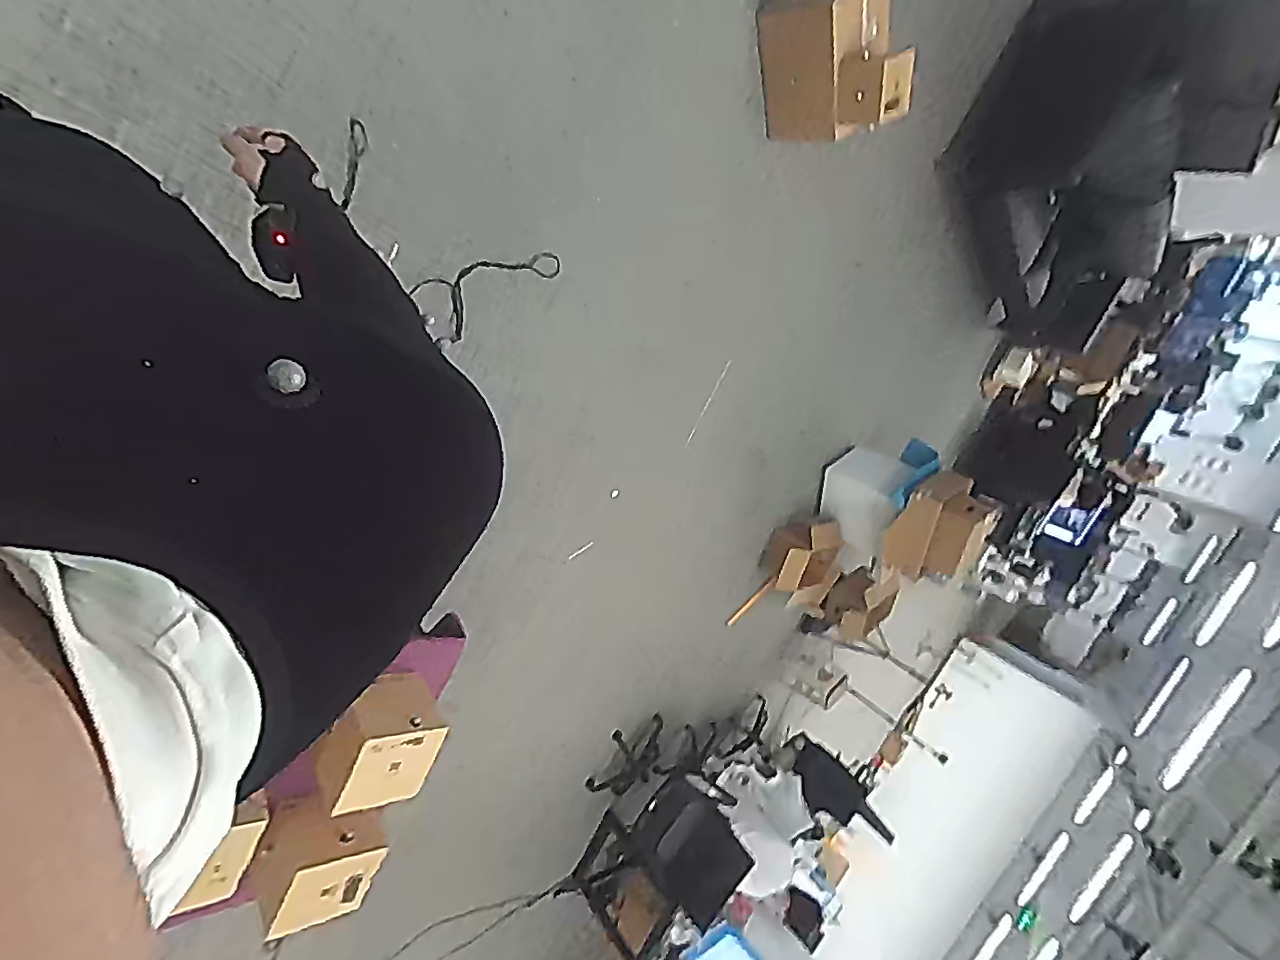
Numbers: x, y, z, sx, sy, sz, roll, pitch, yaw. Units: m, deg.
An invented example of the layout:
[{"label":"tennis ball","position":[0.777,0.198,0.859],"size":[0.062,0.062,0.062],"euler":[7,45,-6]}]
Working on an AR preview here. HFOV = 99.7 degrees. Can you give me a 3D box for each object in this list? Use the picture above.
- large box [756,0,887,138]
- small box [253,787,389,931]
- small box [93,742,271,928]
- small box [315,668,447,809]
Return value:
[{"label":"large box","position":[0.653,-1.509,1.935],"size":[0.320,0.320,0.408],"euler":[-42,137,-18]},{"label":"small box","position":[-0.658,0.756,1.113],"size":[0.179,0.176,0.168],"euler":[20,100,-49]},{"label":"small box","position":[-0.752,0.564,0.889],"size":[0.179,0.176,0.168],"euler":[21,101,-50]},{"label":"small box","position":[-0.521,0.502,1.077],"size":[0.168,0.176,0.179],"euler":[17,104,-49]}]
